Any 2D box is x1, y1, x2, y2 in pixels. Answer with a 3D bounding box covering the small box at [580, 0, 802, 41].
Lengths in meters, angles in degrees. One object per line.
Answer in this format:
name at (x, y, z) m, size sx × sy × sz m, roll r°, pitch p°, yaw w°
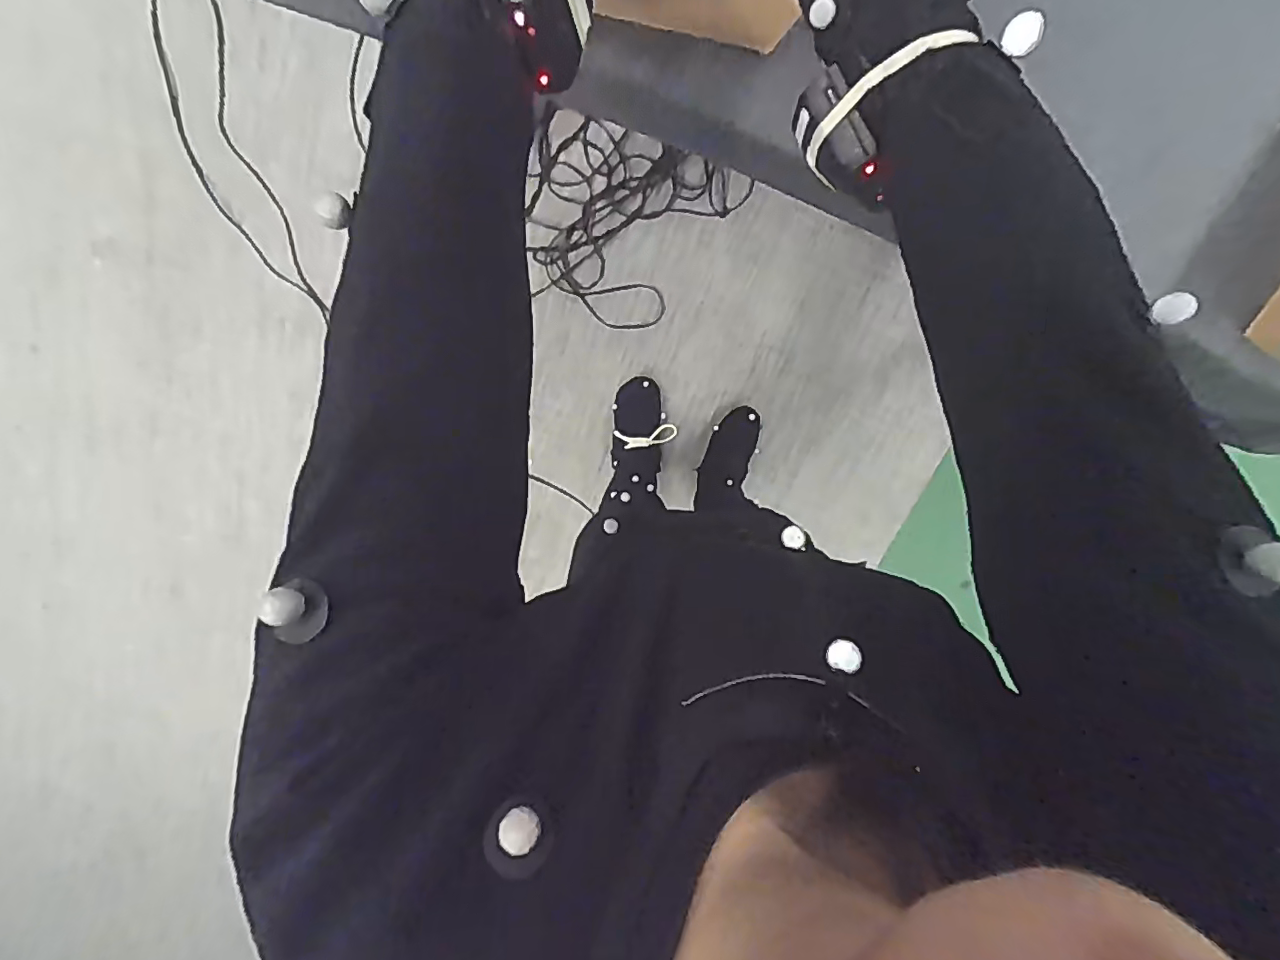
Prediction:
small box at (0.047, -0.421, 0.345) m, size 0.179 × 0.176 × 0.168 m, roll 8°, pitch 109°, yaw -6°
